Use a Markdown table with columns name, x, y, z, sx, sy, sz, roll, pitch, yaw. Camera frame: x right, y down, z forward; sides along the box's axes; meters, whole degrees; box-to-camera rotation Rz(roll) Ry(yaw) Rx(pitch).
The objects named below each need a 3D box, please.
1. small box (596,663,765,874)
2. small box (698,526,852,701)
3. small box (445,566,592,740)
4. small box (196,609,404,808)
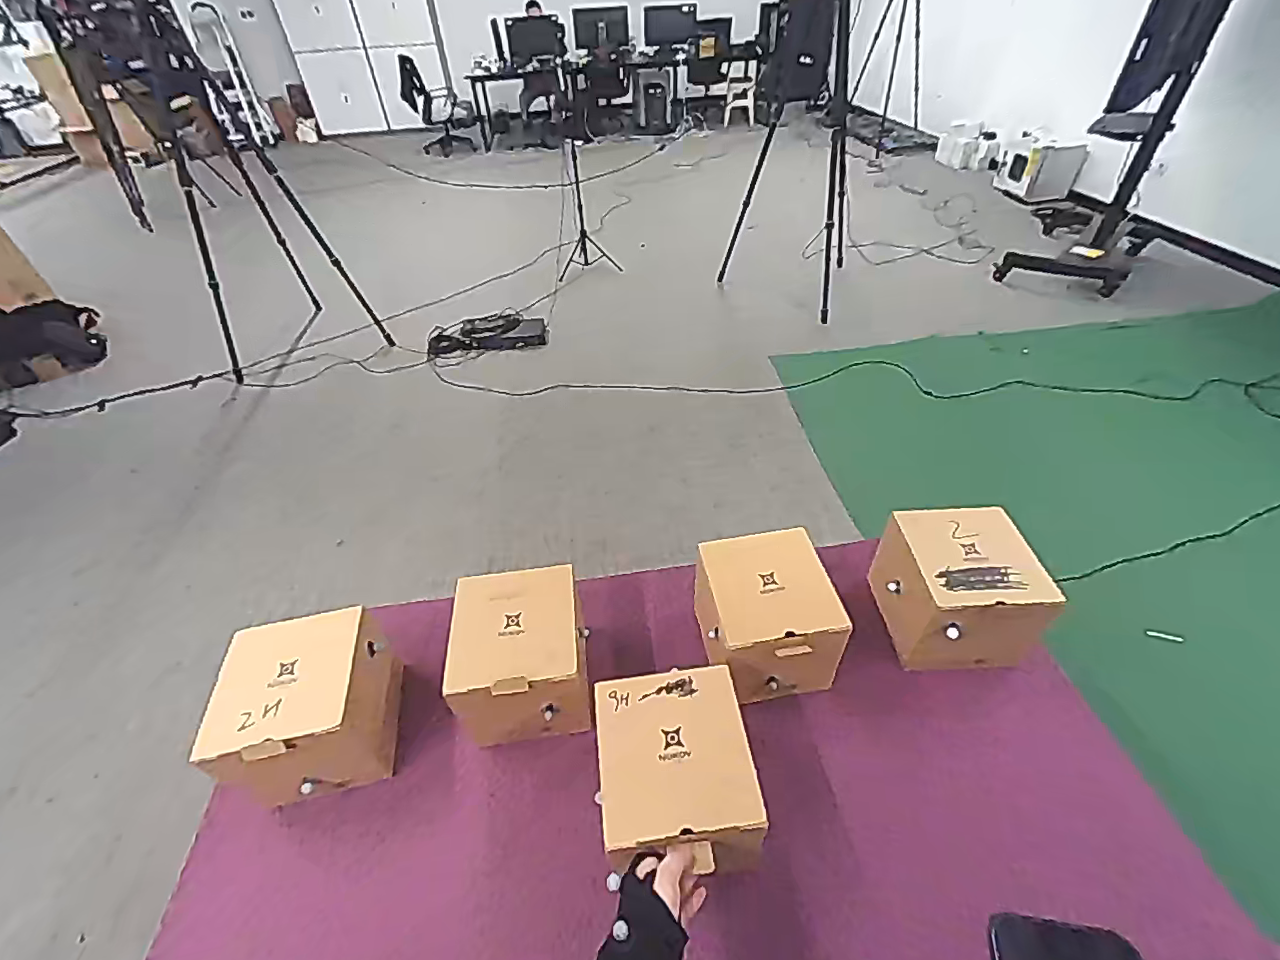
| name | x | y | z | sx | sy | sz | roll | pitch | yaw |
| --- | --- | --- | --- | --- | --- | --- | --- | --- | --- |
| small box | 0.042 | 0.349 | 0.647 | 0.168 | 0.176 | 0.179 | -7 | 44 | -3 |
| small box | 0.183 | 0.197 | 0.798 | 0.168 | 0.176 | 0.179 | -9 | 44 | -4 |
| small box | -0.162 | 0.251 | 0.771 | 0.168 | 0.176 | 0.179 | -7 | 43 | -4 |
| small box | -0.435 | 0.308 | 0.732 | 0.168 | 0.176 | 0.179 | -11 | 44 | -7 |
